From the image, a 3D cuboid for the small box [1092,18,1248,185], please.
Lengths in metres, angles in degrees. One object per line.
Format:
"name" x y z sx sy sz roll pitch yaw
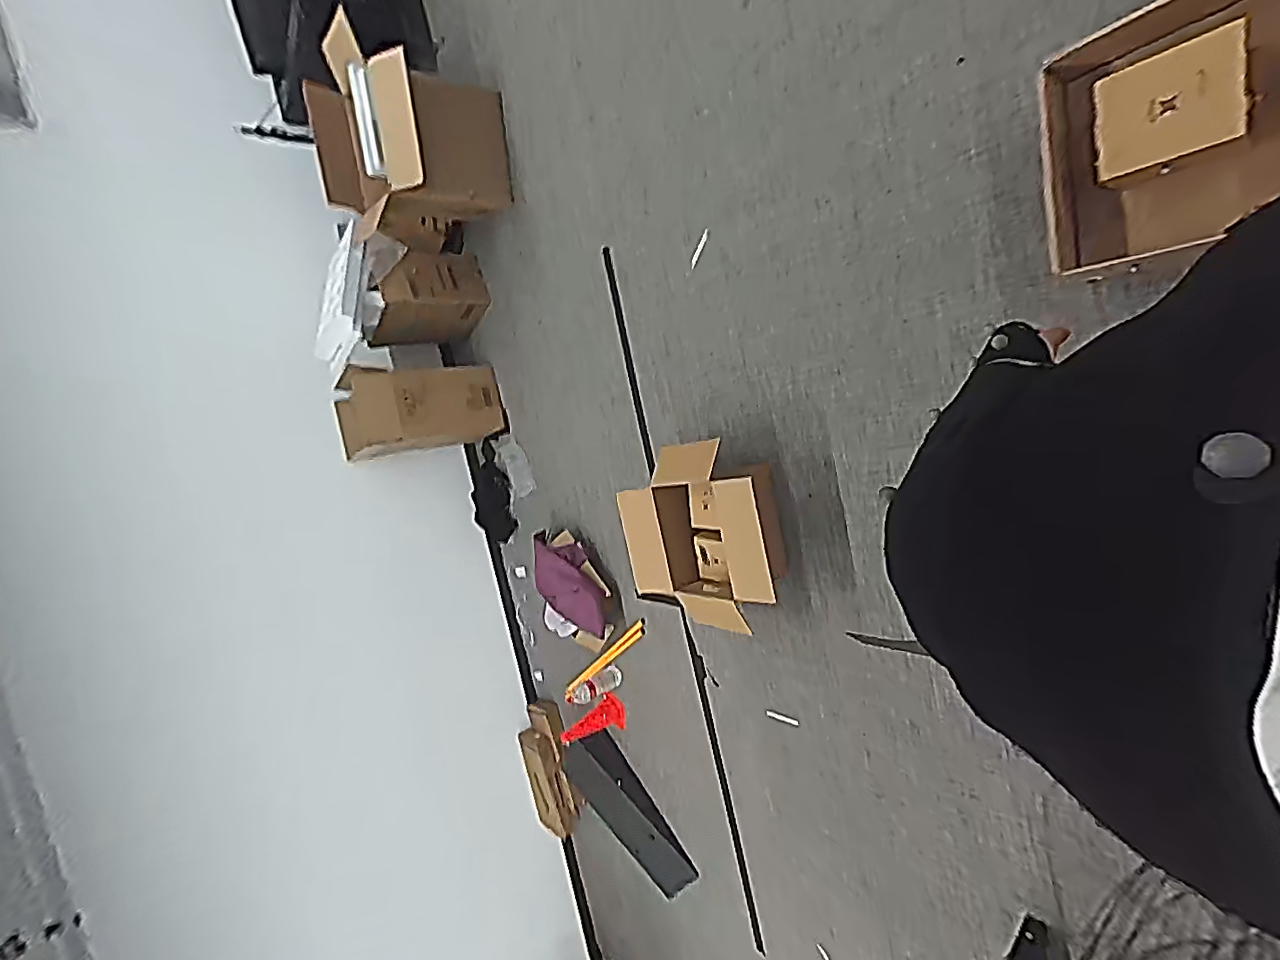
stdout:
"small box" 0.912 -0.630 0.931 0.179 0.176 0.168 -1 104 50
